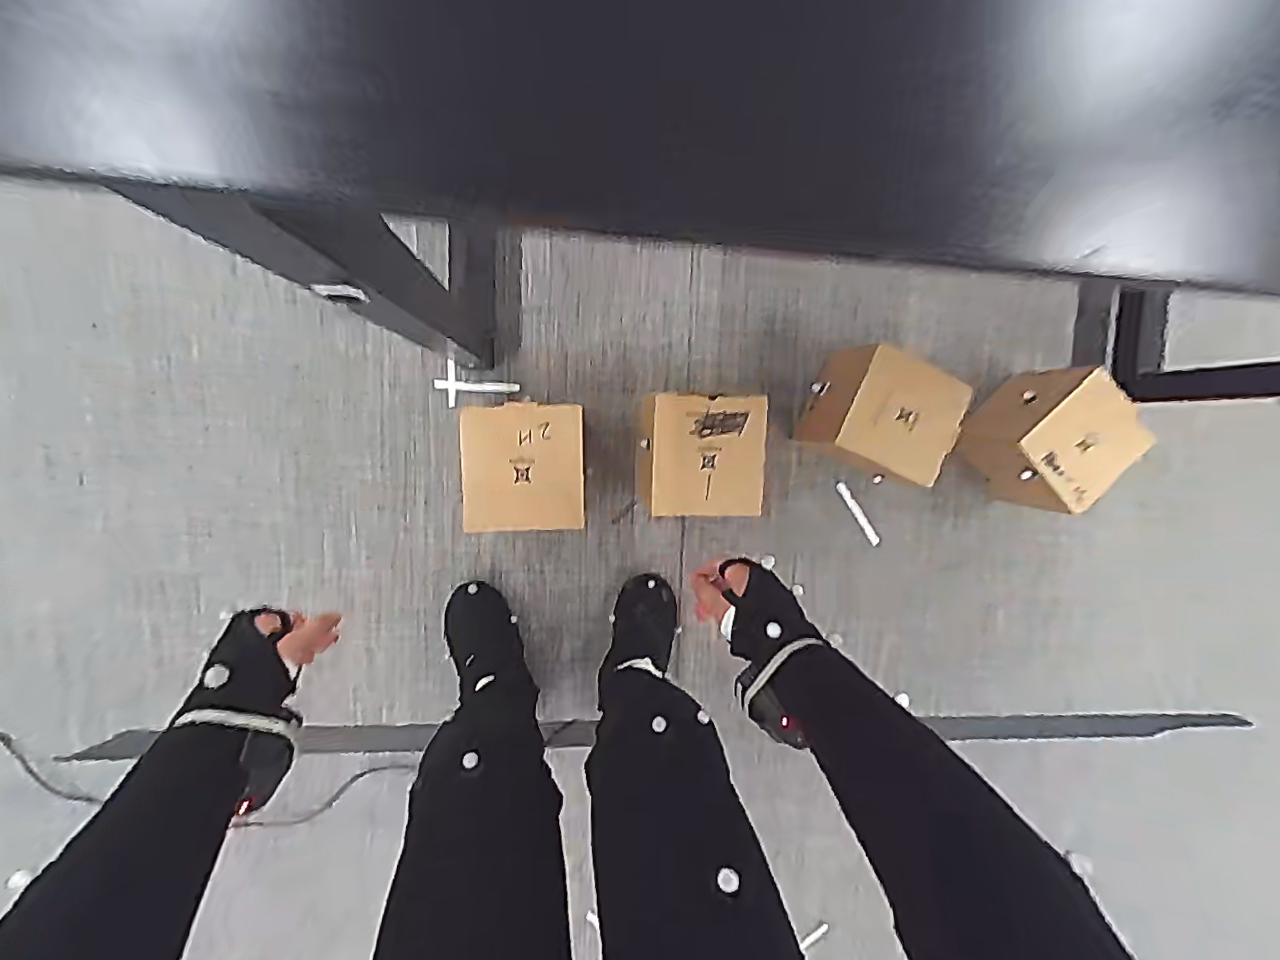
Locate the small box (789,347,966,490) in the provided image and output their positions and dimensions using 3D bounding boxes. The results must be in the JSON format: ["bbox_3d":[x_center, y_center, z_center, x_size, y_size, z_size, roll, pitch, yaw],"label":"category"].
[{"bbox_3d":[0.378,-0.098,0.889,0.179,0.176,0.168,23,92,-8],"label":"small box"}]

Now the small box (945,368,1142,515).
[{"bbox_3d":[0.677,-0.067,0.927,0.179,0.176,0.168,-45,99,-1],"label":"small box"}]

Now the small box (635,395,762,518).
[{"bbox_3d":[0.084,-0.040,0.857,0.168,0.176,0.179,1,97,-7],"label":"small box"}]
